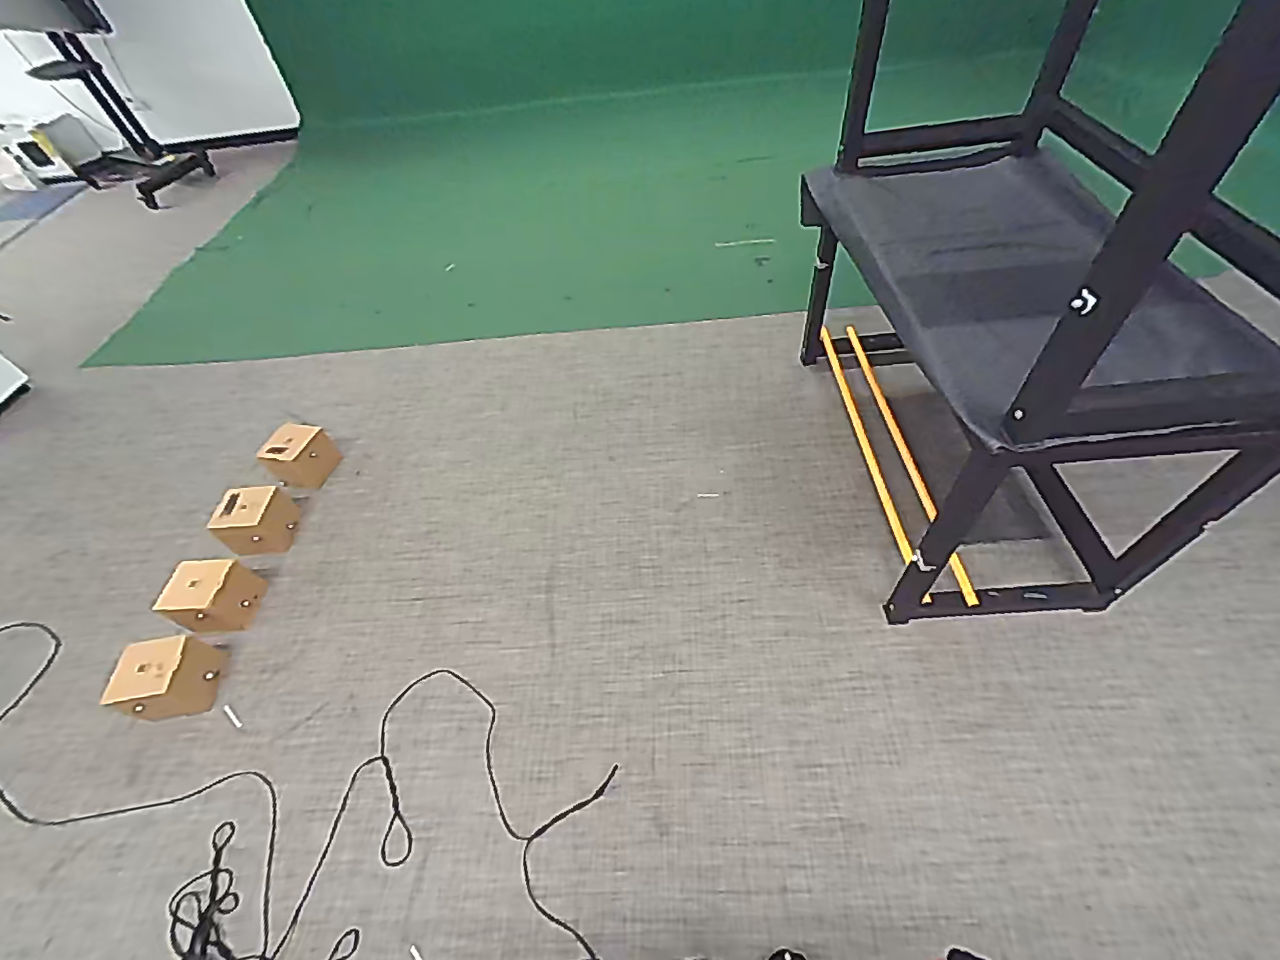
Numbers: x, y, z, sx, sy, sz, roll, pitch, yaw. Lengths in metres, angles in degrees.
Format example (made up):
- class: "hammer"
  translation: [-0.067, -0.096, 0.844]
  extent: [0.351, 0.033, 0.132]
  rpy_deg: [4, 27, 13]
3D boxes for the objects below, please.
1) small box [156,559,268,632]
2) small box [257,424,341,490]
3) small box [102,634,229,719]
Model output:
- class: "small box"
  translation: [-1.315, 0.362, 1.675]
  extent: [0.179, 0.176, 0.168]
  rpy_deg: [-3, 51, 4]
- class: "small box"
  translation: [-1.268, -0.083, 2.030]
  extent: [0.168, 0.176, 0.179]
  rpy_deg: [8, 51, 12]
- class: "small box"
  translation: [-1.316, 0.556, 1.514]
  extent: [0.179, 0.176, 0.168]
  rpy_deg: [-10, 52, -1]
